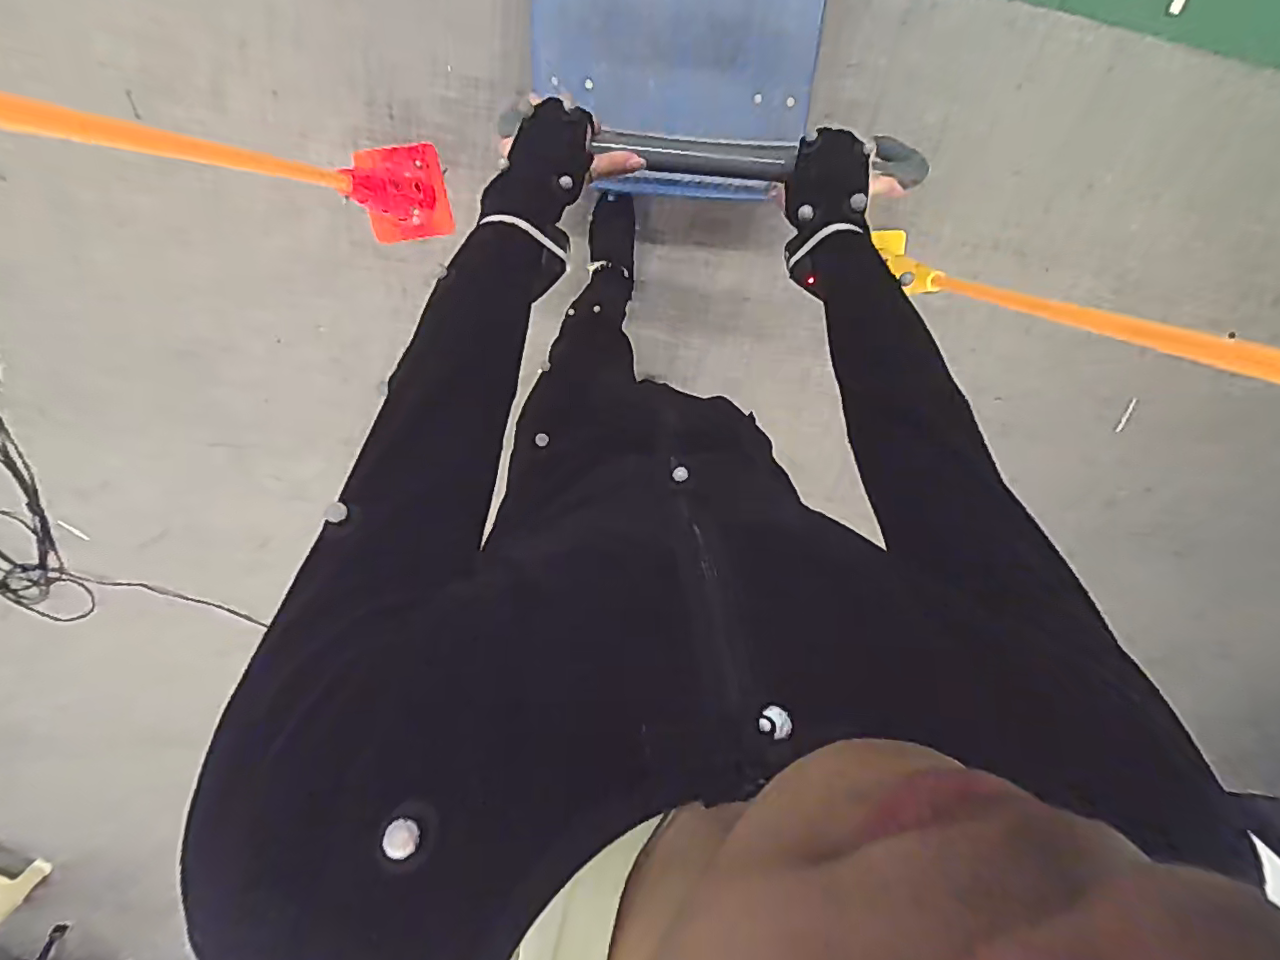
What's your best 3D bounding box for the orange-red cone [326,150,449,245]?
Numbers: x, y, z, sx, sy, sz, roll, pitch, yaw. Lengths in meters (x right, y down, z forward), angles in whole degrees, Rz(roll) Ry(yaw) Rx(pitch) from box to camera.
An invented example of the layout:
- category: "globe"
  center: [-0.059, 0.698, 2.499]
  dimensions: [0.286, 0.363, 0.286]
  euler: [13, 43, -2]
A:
- category: "orange-red cone"
  center: [-0.568, -0.611, 1.151]
  dimensions: [0.199, 0.360, 0.198]
  euler: [-6, 114, 0]
